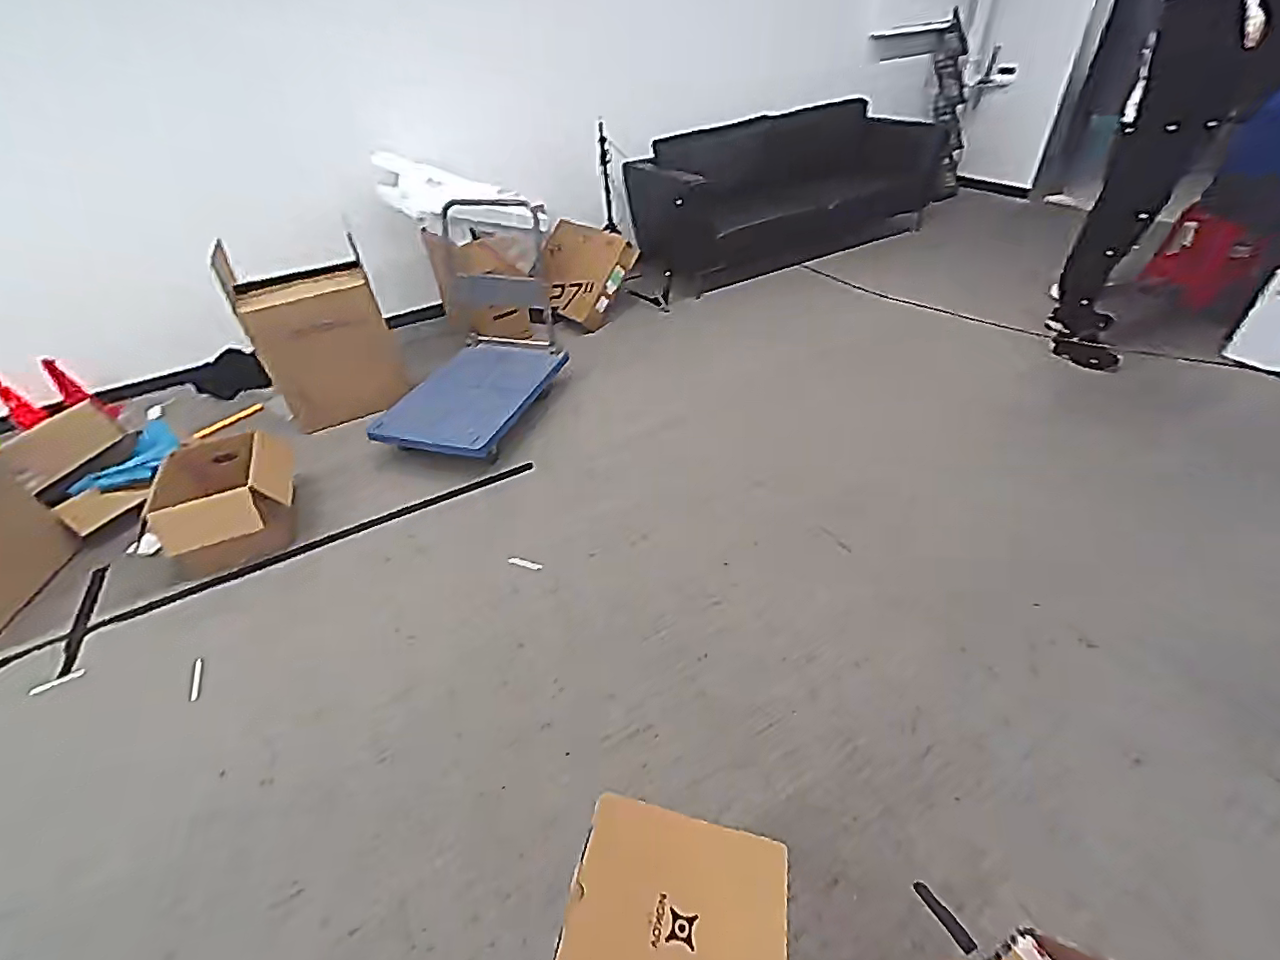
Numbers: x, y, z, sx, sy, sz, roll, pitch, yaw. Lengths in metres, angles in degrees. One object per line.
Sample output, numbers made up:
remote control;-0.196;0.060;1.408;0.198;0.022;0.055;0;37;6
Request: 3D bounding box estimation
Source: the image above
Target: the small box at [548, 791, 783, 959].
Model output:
small box;0.018;0.414;0.473;0.179;0.176;0.168;11;36;8
